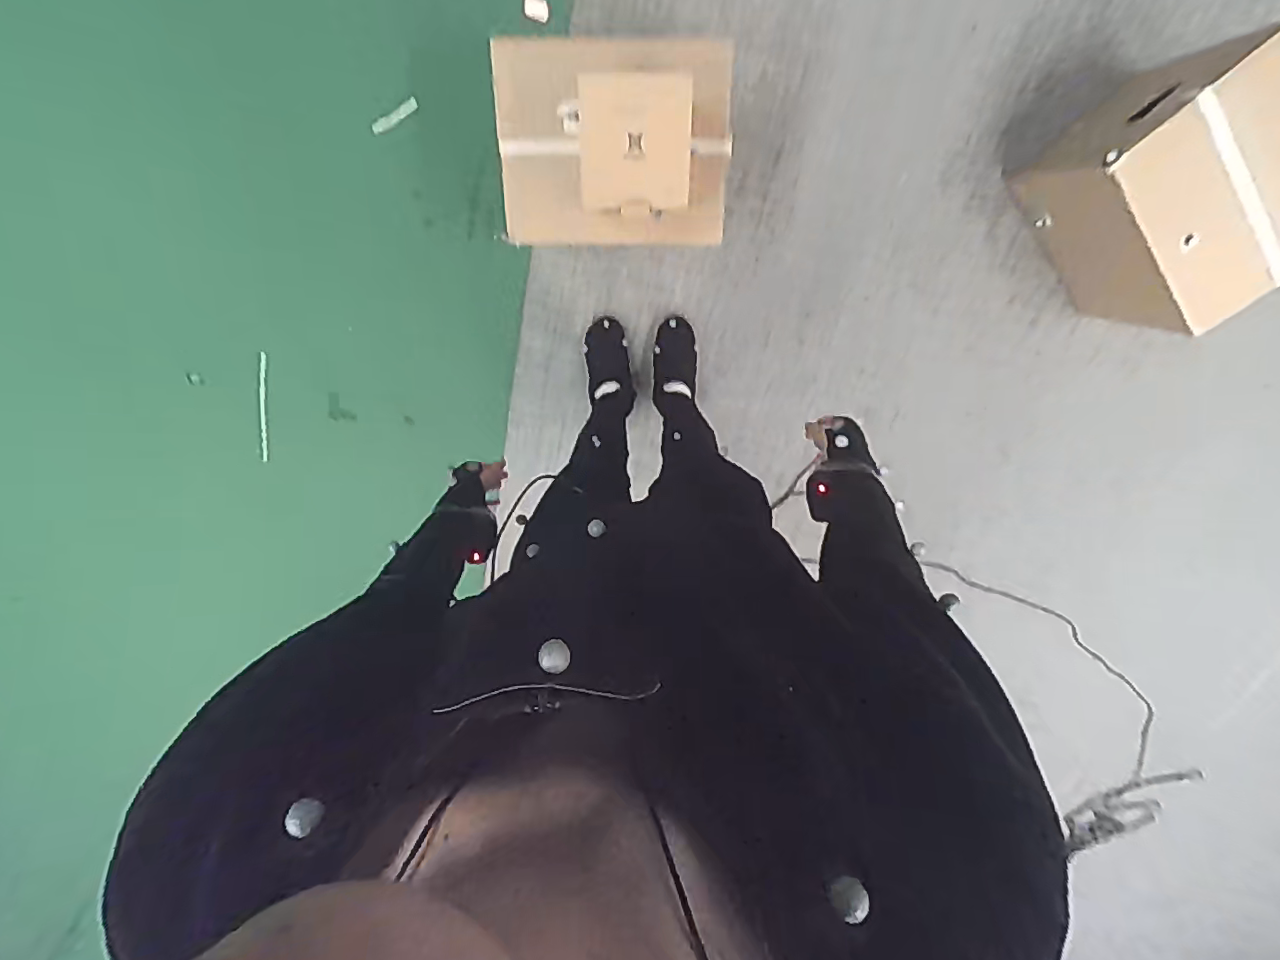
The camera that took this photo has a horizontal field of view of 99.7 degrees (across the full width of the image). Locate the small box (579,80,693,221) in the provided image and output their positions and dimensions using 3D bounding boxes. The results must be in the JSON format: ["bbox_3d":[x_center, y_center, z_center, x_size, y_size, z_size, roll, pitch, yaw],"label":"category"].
[{"bbox_3d":[-0.005,-0.514,0.867,0.168,0.176,0.179,1,114,0],"label":"small box"}]

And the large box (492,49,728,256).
[{"bbox_3d":[-0.042,-0.623,1.088,0.408,0.320,0.320,1,112,2],"label":"large box"}]
